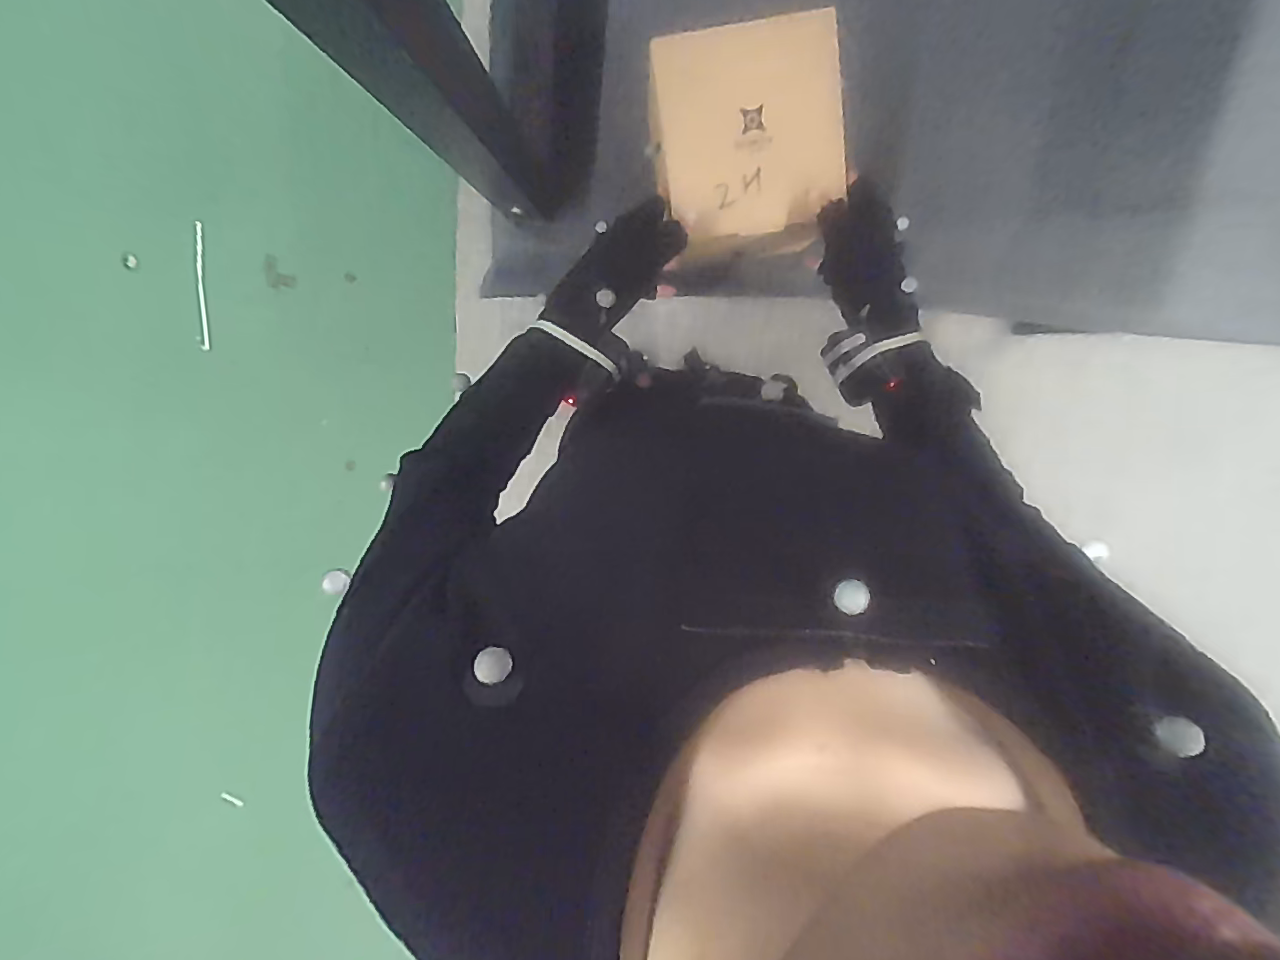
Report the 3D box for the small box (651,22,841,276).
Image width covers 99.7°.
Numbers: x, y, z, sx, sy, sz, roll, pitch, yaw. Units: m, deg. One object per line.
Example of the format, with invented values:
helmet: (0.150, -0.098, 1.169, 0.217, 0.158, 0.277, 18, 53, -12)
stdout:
small box: (0.102, -0.332, 0.580, 0.168, 0.176, 0.179, -8, 102, 3)
